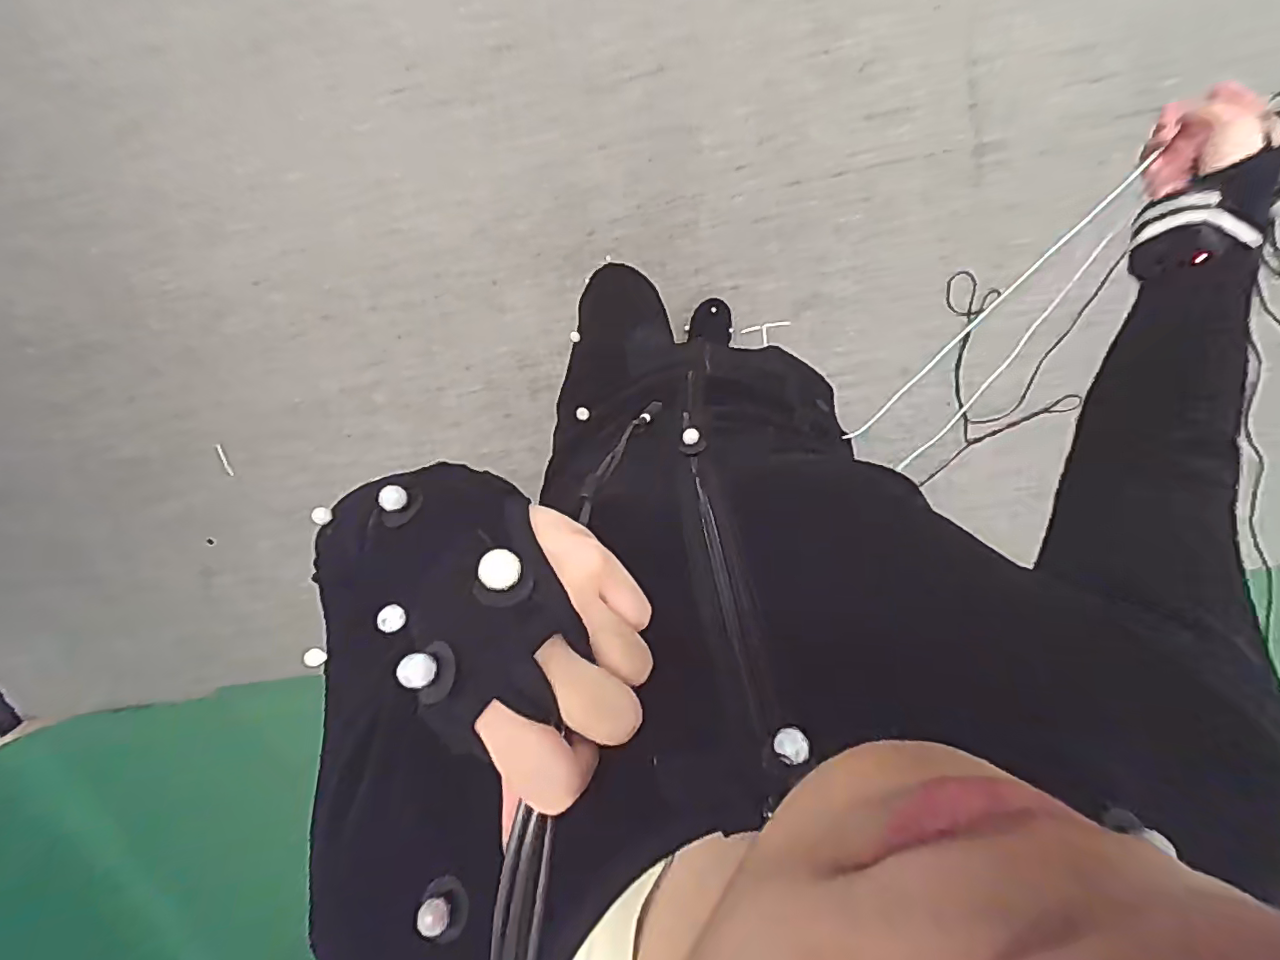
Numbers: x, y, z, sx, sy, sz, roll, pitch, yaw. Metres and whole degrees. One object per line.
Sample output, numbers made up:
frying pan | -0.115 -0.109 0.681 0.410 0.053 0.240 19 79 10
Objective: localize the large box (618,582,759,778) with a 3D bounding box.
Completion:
large box | 0.136 0.561 1.546 0.320 0.320 0.408 -10 111 6
